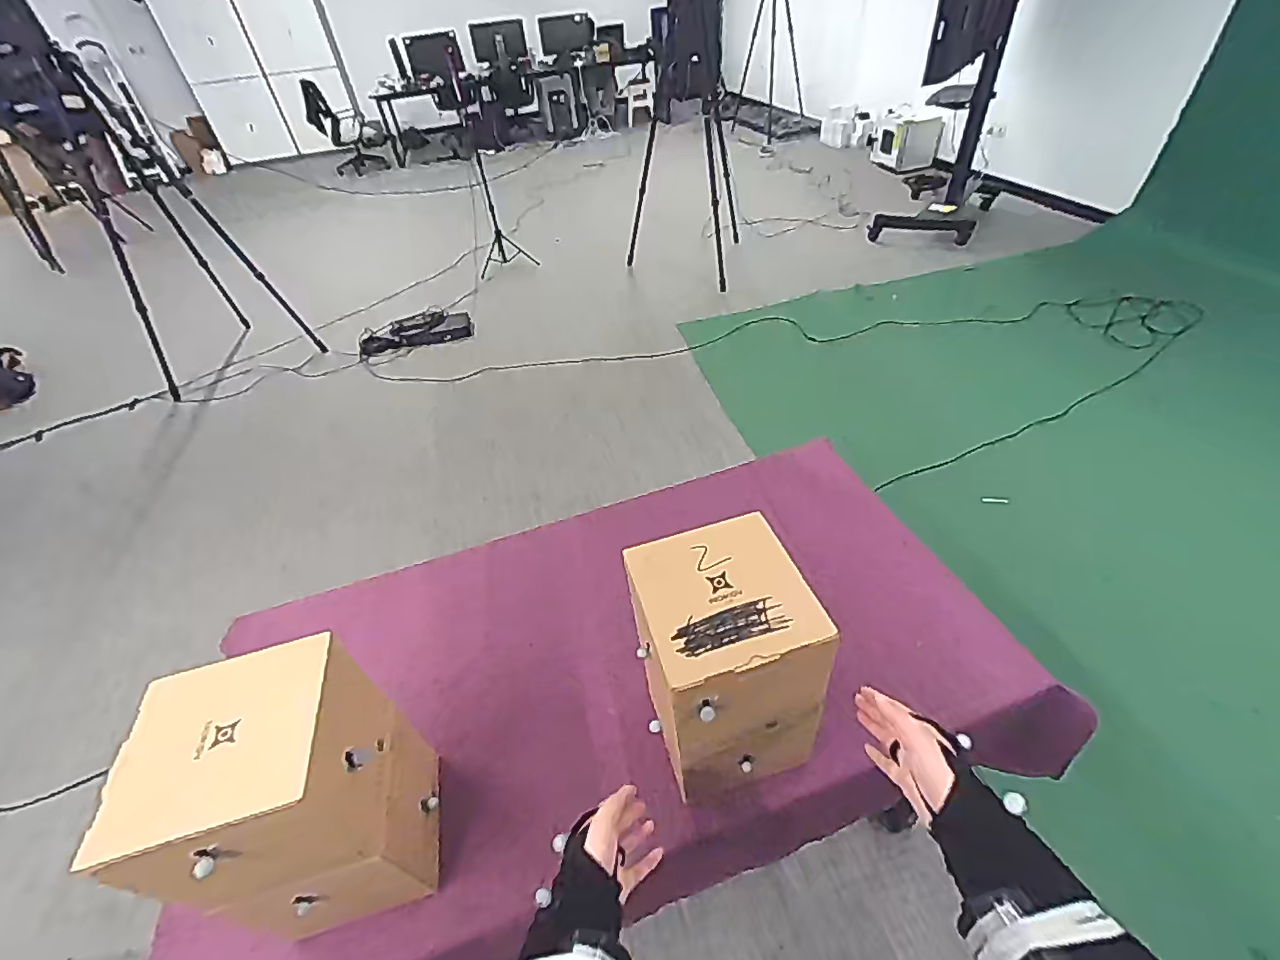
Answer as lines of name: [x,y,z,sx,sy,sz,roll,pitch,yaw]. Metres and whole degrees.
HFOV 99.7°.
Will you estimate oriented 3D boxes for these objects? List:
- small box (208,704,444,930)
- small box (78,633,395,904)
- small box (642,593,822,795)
small box: [-0.353,0.406,0.650,0.179,0.176,0.168,-15,44,-8]
small box: [-0.365,0.286,0.539,0.179,0.176,0.168,-16,44,-7]
small box: [0.113,0.282,0.714,0.179,0.176,0.168,-16,44,-7]
